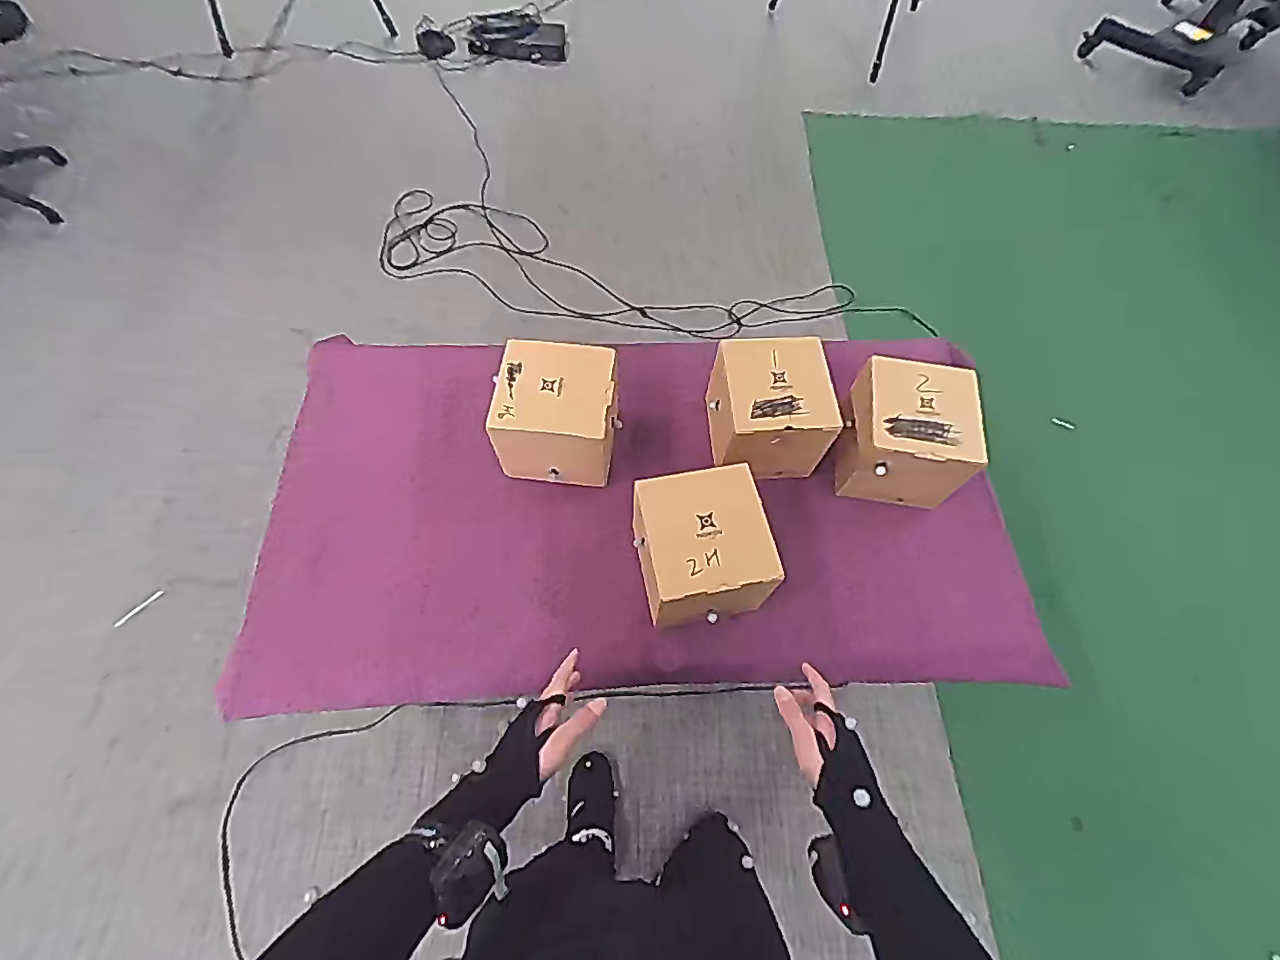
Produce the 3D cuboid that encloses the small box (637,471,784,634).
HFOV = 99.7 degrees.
[{"bbox_3d":[0.089,0.110,0.792,0.168,0.176,0.179,-9,63,-6],"label":"small box"}]

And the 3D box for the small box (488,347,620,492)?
[{"bbox_3d":[-0.129,-0.092,0.887,0.179,0.176,0.168,6,64,1],"label":"small box"}]
